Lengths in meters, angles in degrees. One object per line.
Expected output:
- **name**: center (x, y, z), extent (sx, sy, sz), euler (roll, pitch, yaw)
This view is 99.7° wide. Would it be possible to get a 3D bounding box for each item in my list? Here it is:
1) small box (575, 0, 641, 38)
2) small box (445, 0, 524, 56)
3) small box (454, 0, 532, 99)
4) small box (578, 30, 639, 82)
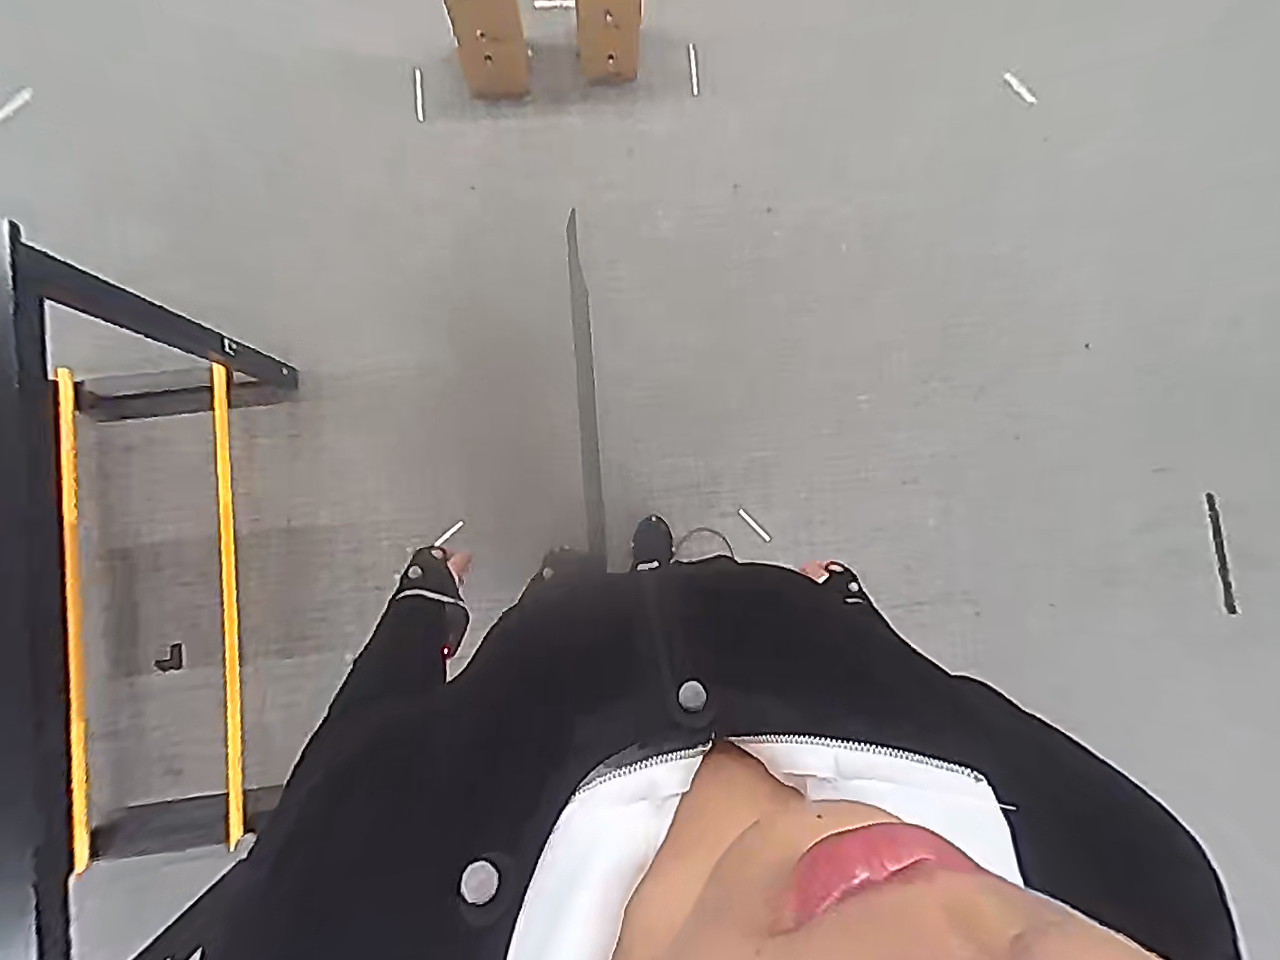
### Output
- **small box**: center (-0.084, -1.261, 1.351), extent (0.168, 0.176, 0.179), euler (-4, 87, -3)
- **small box**: center (-0.391, -1.201, 1.331), extent (0.168, 0.176, 0.179), euler (-9, 88, -2)
- **small box**: center (-0.404, -1.192, 1.493), extent (0.179, 0.176, 0.168), euler (-7, 87, -4)
- **small box**: center (-0.091, -1.257, 1.517), extent (0.168, 0.176, 0.179), euler (-5, 87, -3)
